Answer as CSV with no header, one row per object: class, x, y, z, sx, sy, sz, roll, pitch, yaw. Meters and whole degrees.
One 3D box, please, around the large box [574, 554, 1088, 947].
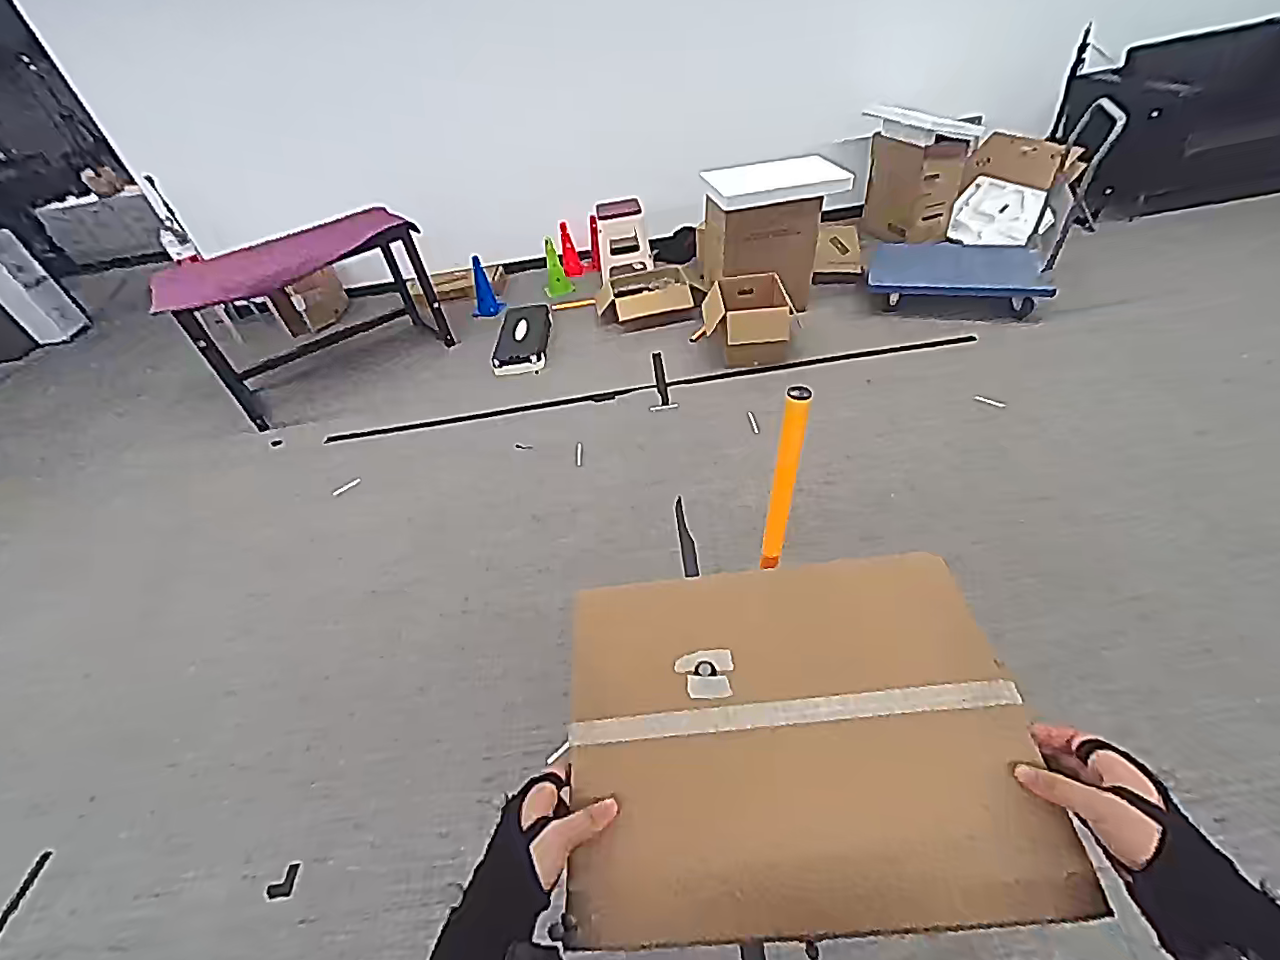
large box,0.158,0.320,0.626,0.408,0.320,0.320,-8,48,5
